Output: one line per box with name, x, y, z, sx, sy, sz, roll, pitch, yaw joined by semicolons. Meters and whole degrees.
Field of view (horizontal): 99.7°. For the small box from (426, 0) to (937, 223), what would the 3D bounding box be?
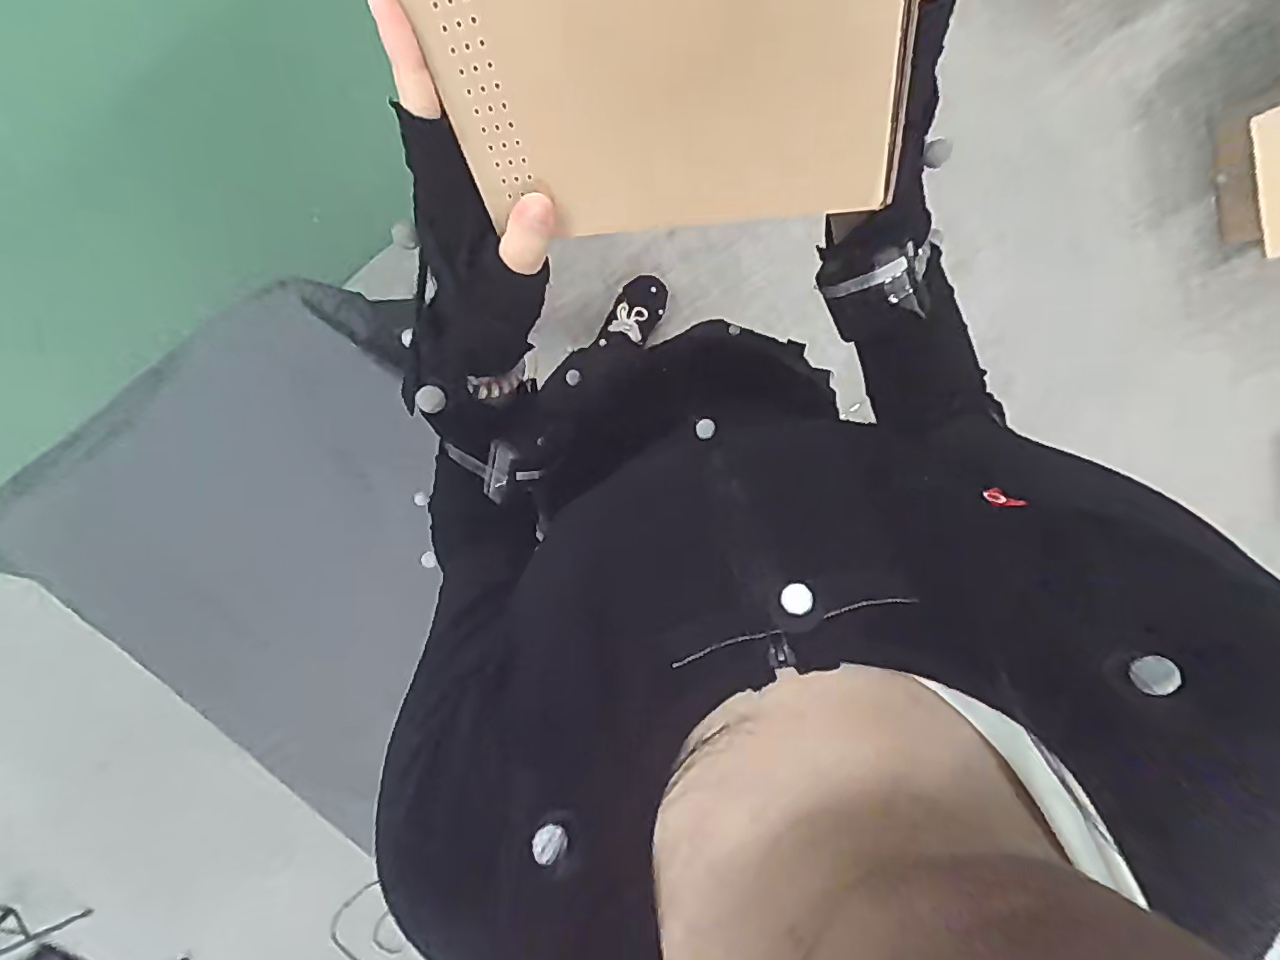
small box;0.019;-0.223;0.206;0.176;0.168;0.179;6;140;22
